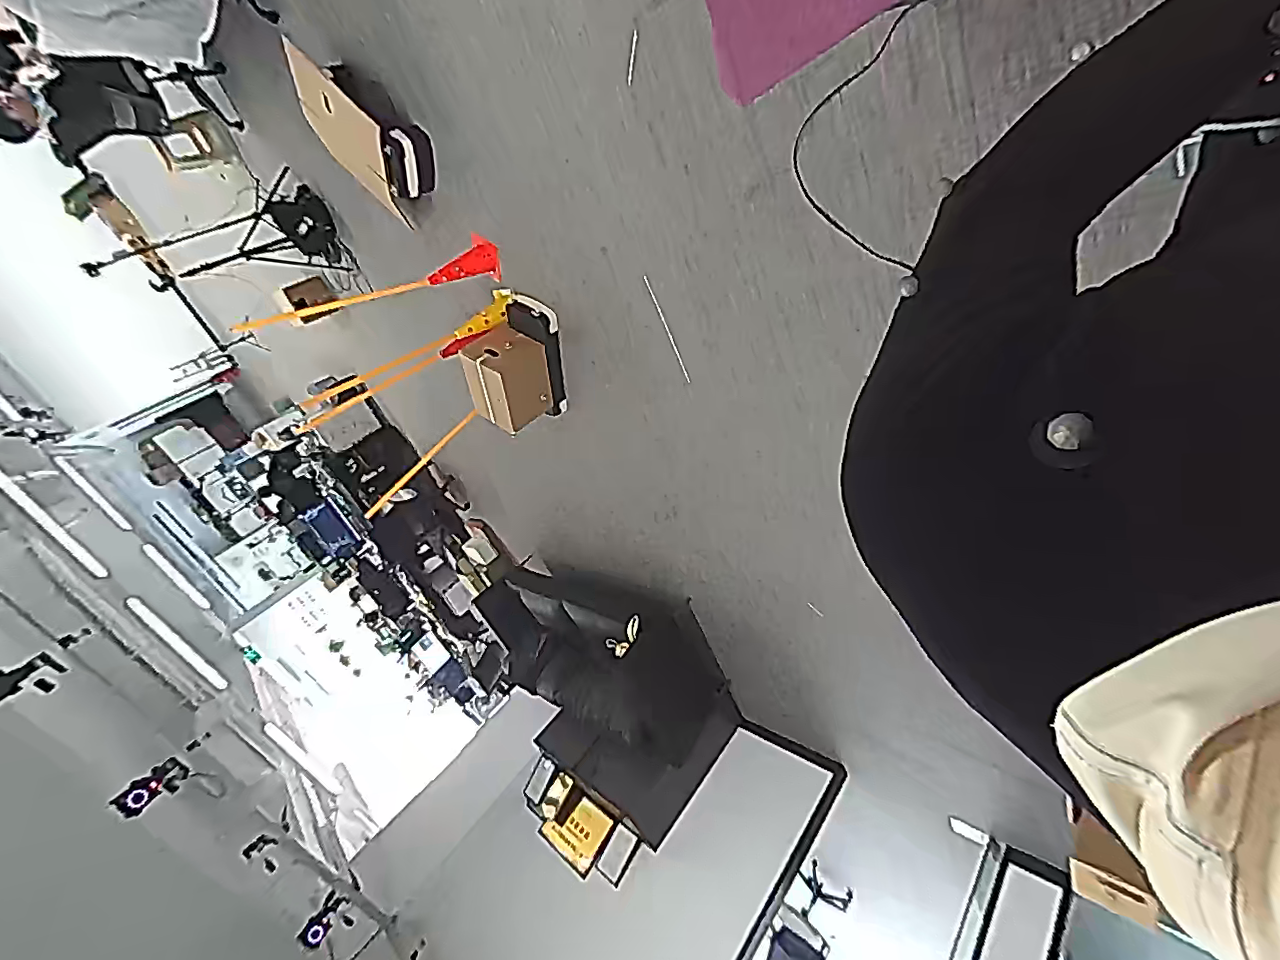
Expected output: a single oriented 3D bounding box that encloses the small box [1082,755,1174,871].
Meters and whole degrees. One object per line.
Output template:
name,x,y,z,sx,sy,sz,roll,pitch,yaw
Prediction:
small box,1.325,0.896,1.470,0.168,0.176,0.179,8,130,48
